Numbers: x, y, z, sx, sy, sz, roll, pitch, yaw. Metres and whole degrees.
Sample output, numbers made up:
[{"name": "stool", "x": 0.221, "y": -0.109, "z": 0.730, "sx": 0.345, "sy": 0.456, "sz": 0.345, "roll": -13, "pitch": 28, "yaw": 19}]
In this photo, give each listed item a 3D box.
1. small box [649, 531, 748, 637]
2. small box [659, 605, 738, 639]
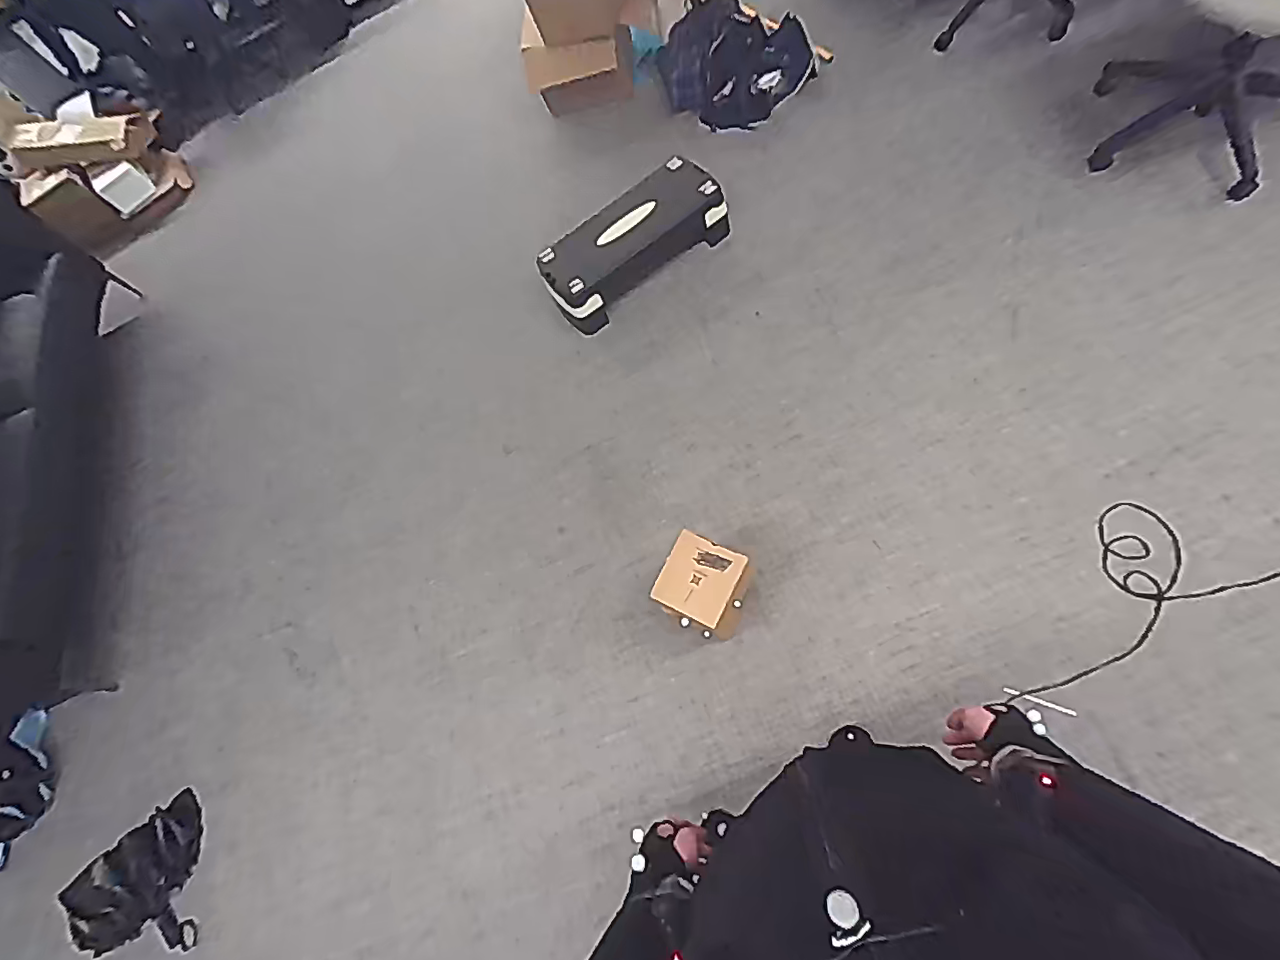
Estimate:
[{"name": "small box", "x": 0.146, "y": 0.250, "z": 1.276, "sx": 0.168, "sy": 0.176, "sz": 0.179, "roll": 23, "pitch": 76, "yaw": 23}, {"name": "small box", "x": 0.170, "y": 0.306, "z": 1.429, "sx": 0.168, "sy": 0.176, "sz": 0.179, "roll": 15, "pitch": 71, "yaw": 20}]
